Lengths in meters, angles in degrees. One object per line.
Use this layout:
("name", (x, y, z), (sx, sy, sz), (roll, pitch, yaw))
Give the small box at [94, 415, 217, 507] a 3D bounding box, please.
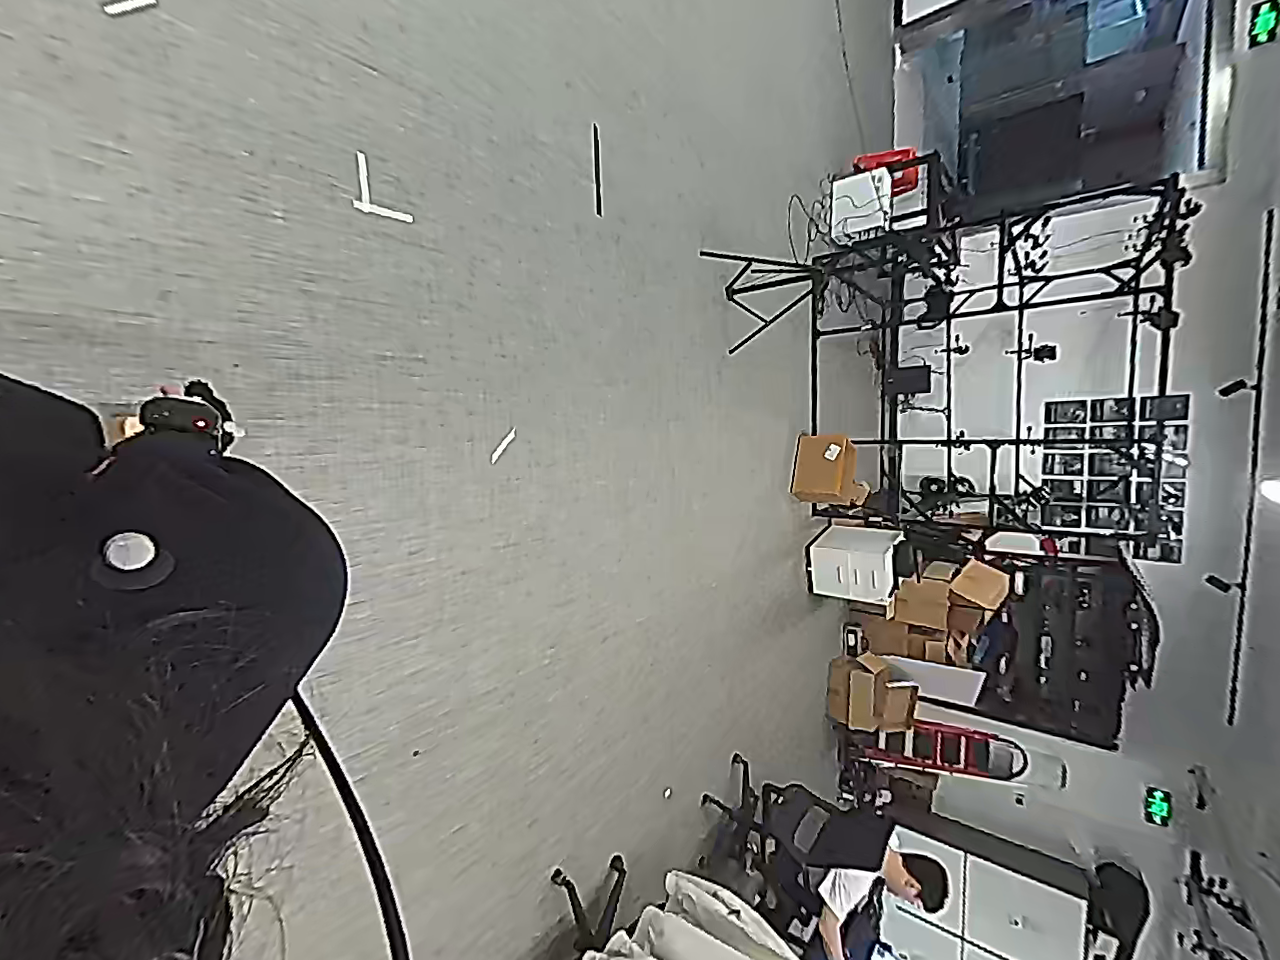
("small box", (-1.005, -0.039, 1.121), (0.168, 0.176, 0.179), (-3, 95, -52))
